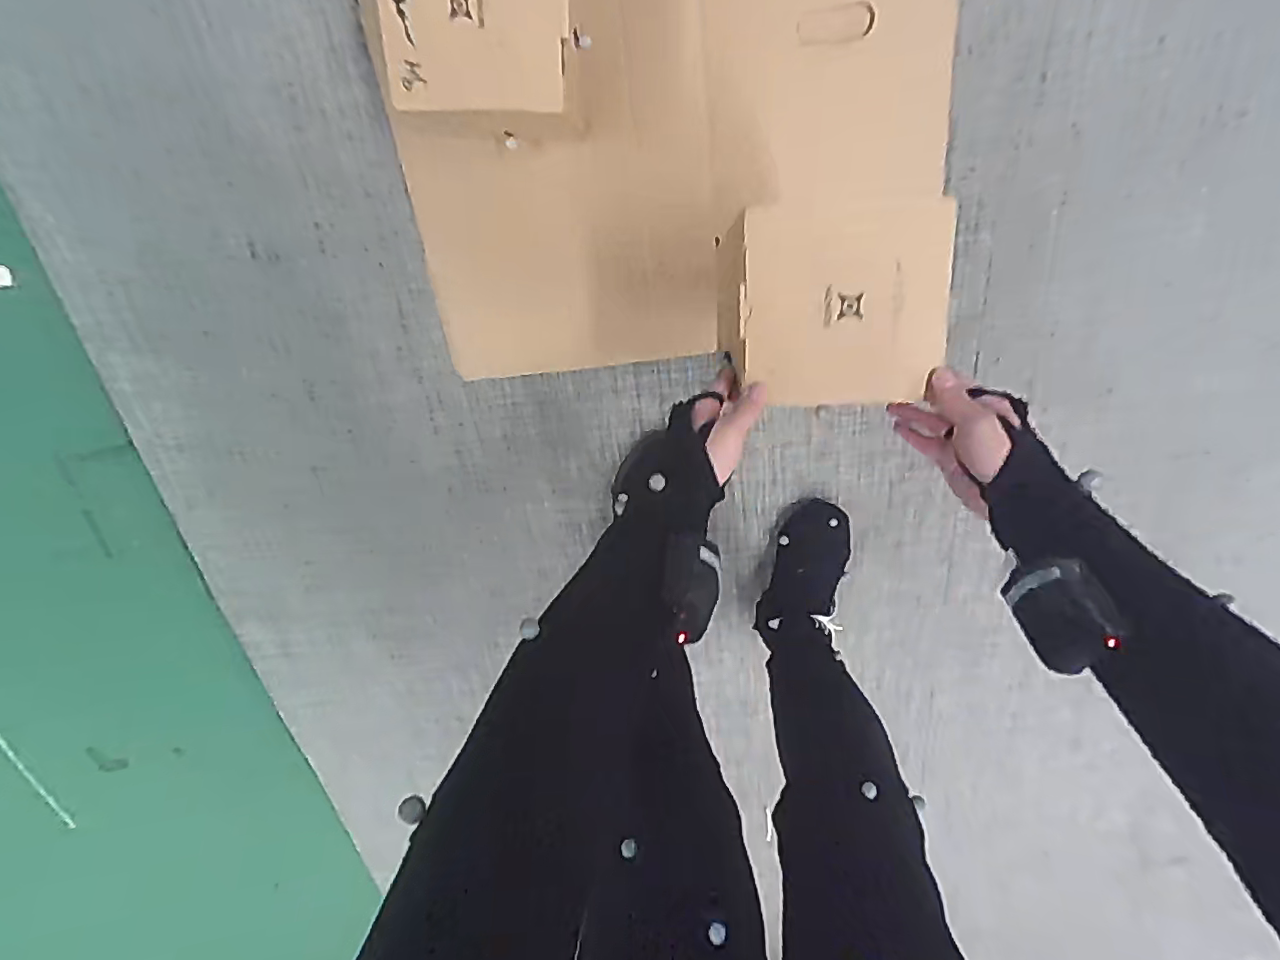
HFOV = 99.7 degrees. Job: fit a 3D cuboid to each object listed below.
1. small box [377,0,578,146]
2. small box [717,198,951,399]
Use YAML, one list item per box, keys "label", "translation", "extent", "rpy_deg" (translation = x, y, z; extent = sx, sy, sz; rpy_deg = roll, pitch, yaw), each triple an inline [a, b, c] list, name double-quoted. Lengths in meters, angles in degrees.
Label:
- label: "small box"
  translation: [-0.158, -0.467, 0.577]
  extent: [0.179, 0.176, 0.168]
  rpy_deg: [2, 114, -1]
- label: "small box"
  translation: [0.172, -0.167, 0.540]
  extent: [0.179, 0.176, 0.168]
  rpy_deg: [-2, 102, 0]
